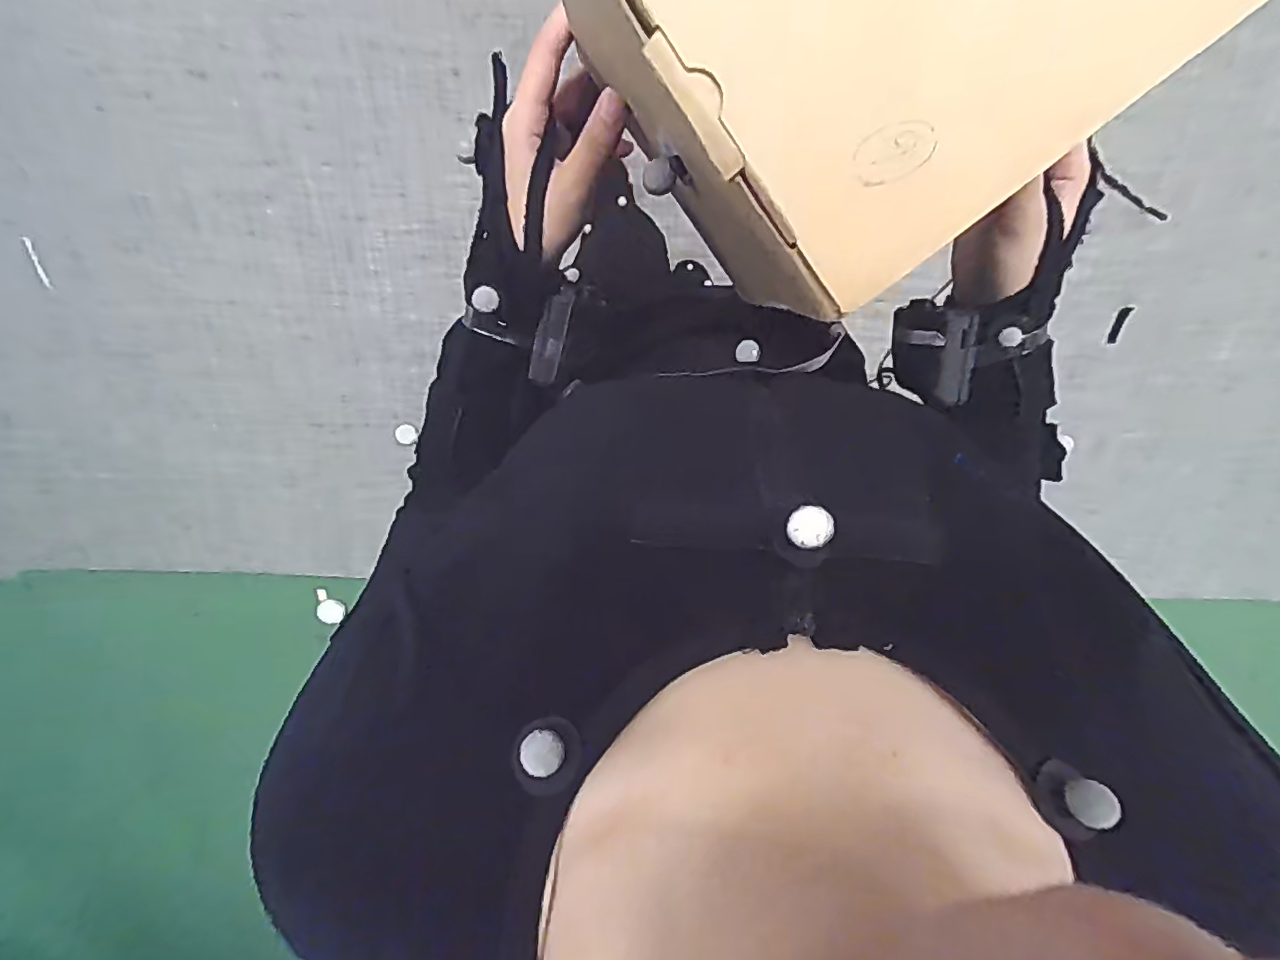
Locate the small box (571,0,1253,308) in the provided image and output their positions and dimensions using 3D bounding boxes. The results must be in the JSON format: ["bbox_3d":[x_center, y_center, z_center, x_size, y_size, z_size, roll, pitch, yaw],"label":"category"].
[{"bbox_3d":[0.082,-0.191,0.220,0.179,0.176,0.168,-36,105,13],"label":"small box"}]
